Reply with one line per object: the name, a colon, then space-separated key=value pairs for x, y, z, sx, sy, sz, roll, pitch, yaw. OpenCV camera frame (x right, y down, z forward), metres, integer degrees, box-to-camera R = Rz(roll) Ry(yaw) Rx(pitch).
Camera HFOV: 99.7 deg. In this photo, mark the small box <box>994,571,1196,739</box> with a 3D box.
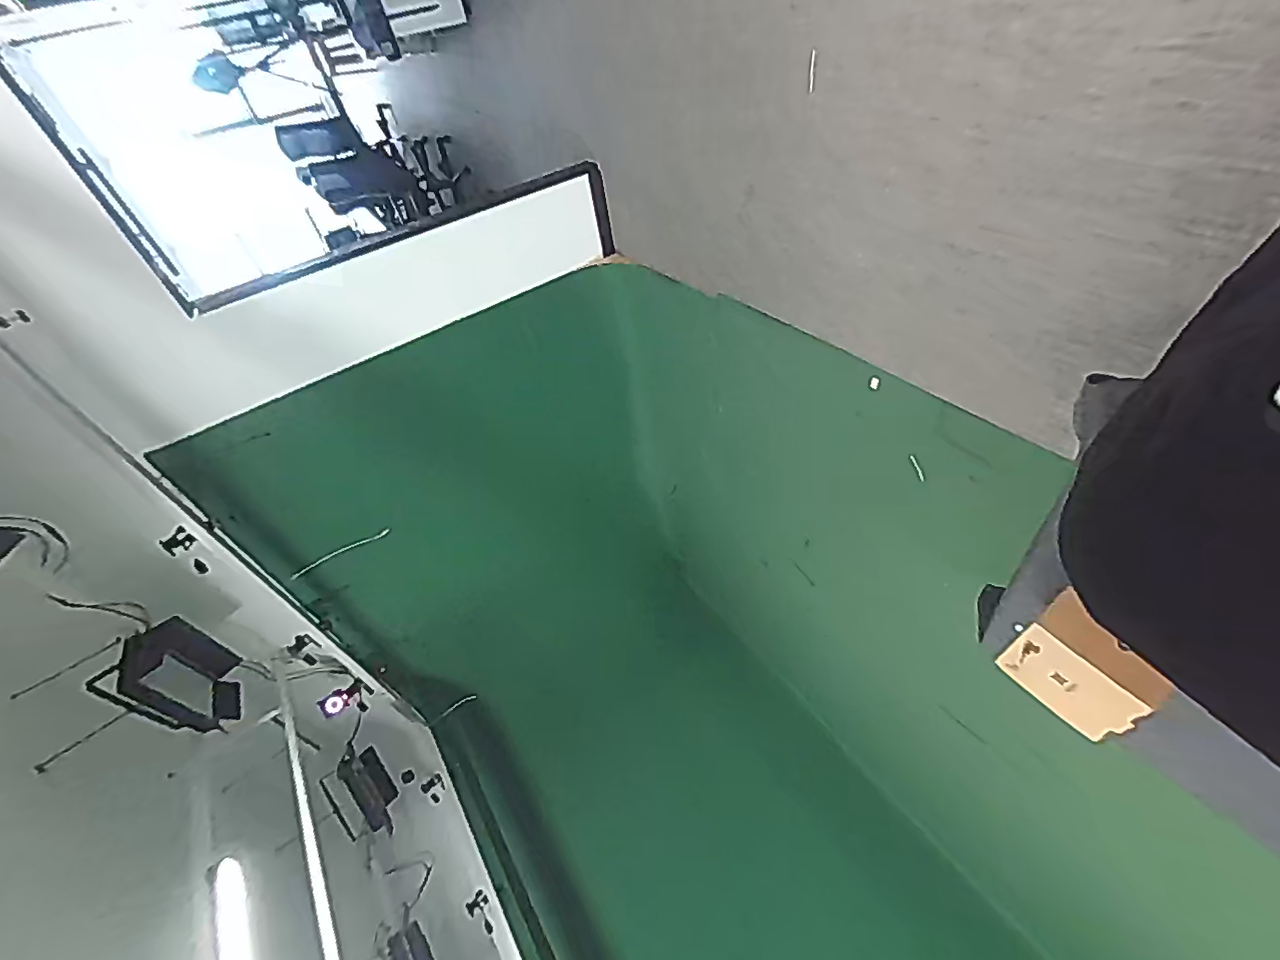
small box: x=0.754 y=0.288 z=0.906 sx=0.179 sy=0.176 sz=0.168 roll=44 pitch=156 yaw=34
